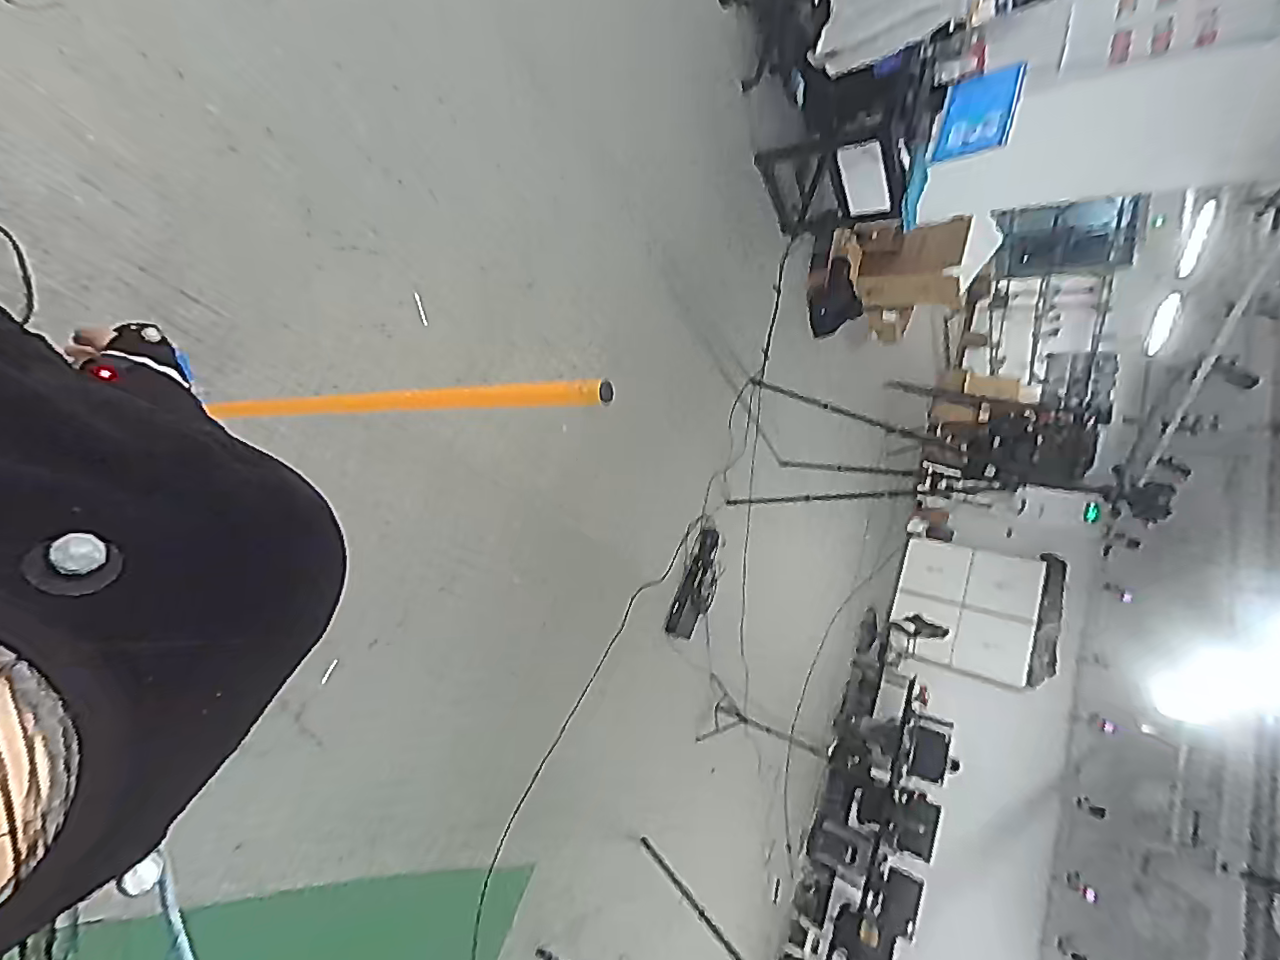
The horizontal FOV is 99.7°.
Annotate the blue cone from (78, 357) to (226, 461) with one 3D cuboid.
[{"bbox_3d":[-0.903,-0.137,1.053,0.193,0.380,0.192,-32,122,-49],"label":"blue cone"}]
